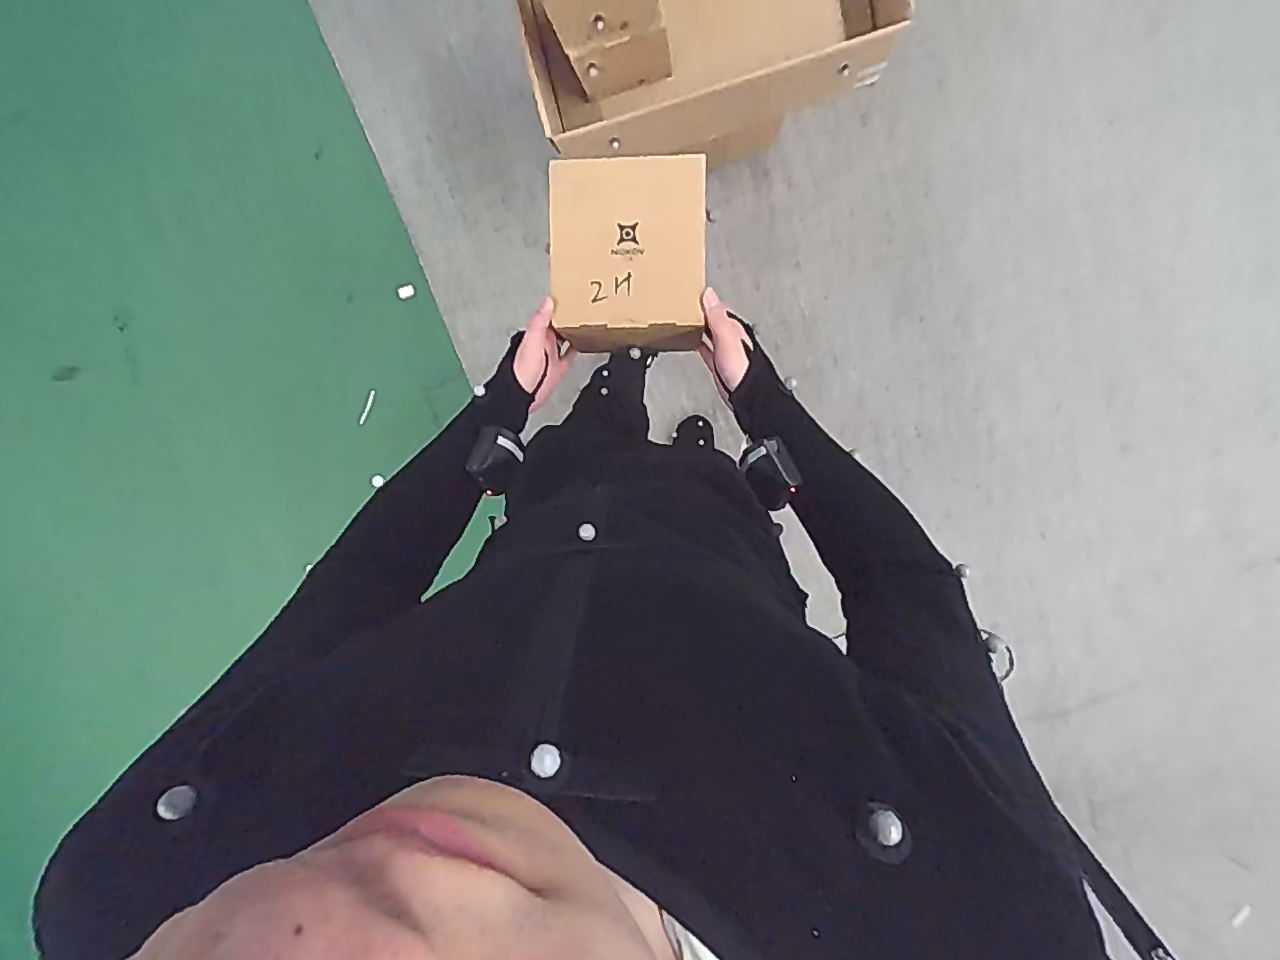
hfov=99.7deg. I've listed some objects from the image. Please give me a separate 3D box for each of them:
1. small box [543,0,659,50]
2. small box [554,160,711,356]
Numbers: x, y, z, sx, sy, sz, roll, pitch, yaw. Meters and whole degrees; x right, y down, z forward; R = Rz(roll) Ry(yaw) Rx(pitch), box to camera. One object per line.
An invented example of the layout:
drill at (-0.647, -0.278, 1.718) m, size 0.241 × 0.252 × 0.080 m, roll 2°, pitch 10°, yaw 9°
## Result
small box at (-0.072, -0.765, 0.763) m, size 0.168 × 0.176 × 0.179 m, roll -11°, pitch 103°, yaw 8°
small box at (-0.005, -0.252, 0.650) m, size 0.168 × 0.176 × 0.179 m, roll 1°, pitch 94°, yaw 4°
